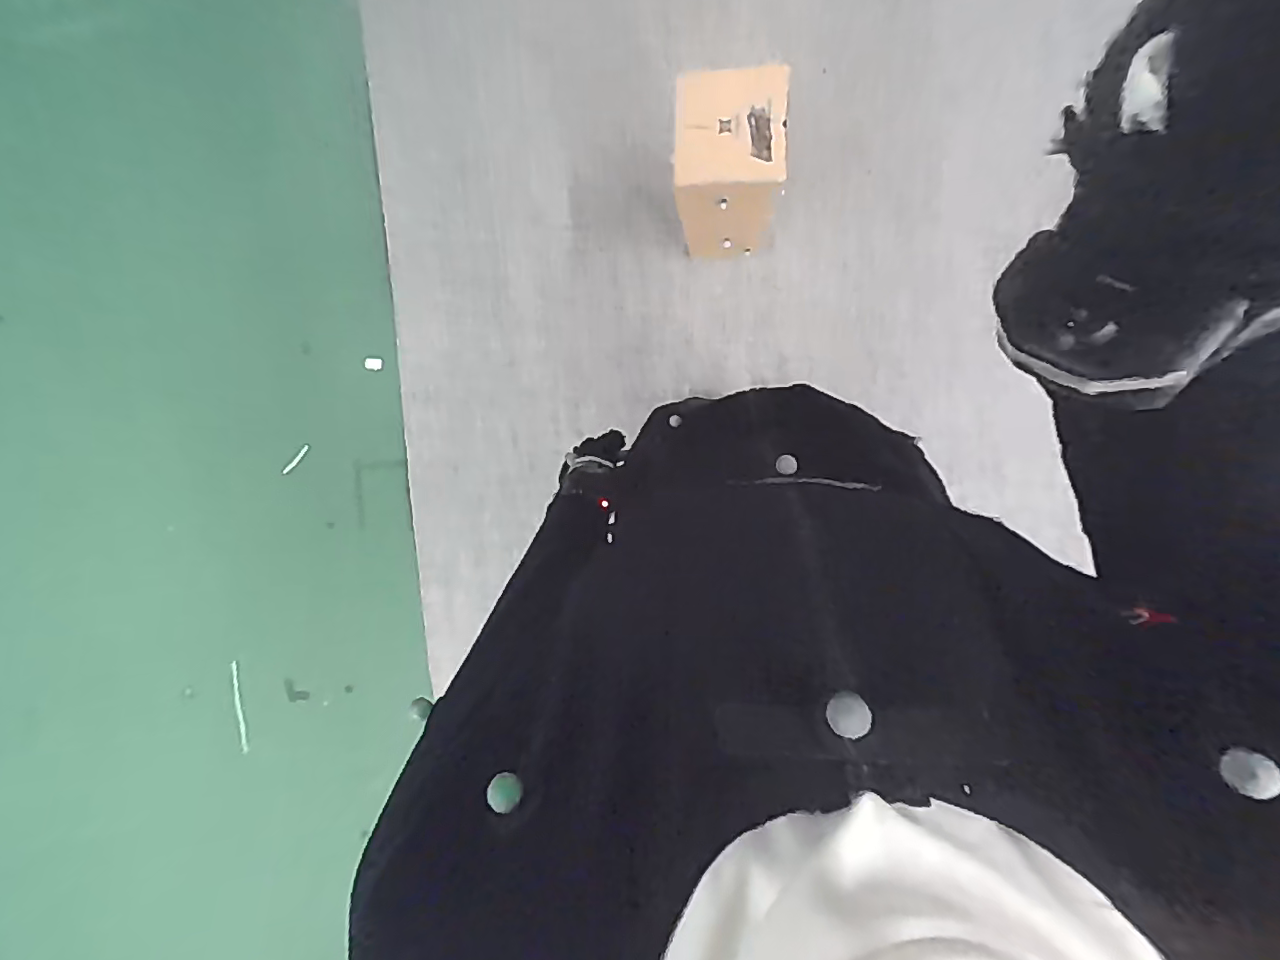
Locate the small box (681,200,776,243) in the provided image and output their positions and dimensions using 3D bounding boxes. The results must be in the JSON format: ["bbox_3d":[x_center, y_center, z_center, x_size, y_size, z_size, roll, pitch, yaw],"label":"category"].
[{"bbox_3d":[0.177,-0.584,1.081,0.179,0.176,0.168,4,99,7],"label":"small box"}]

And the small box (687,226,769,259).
[{"bbox_3d":[0.200,-0.615,1.240,0.179,0.176,0.168,0,98,9],"label":"small box"}]

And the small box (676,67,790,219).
[{"bbox_3d":[0.152,-0.560,0.920,0.179,0.176,0.168,-1,99,7],"label":"small box"}]
